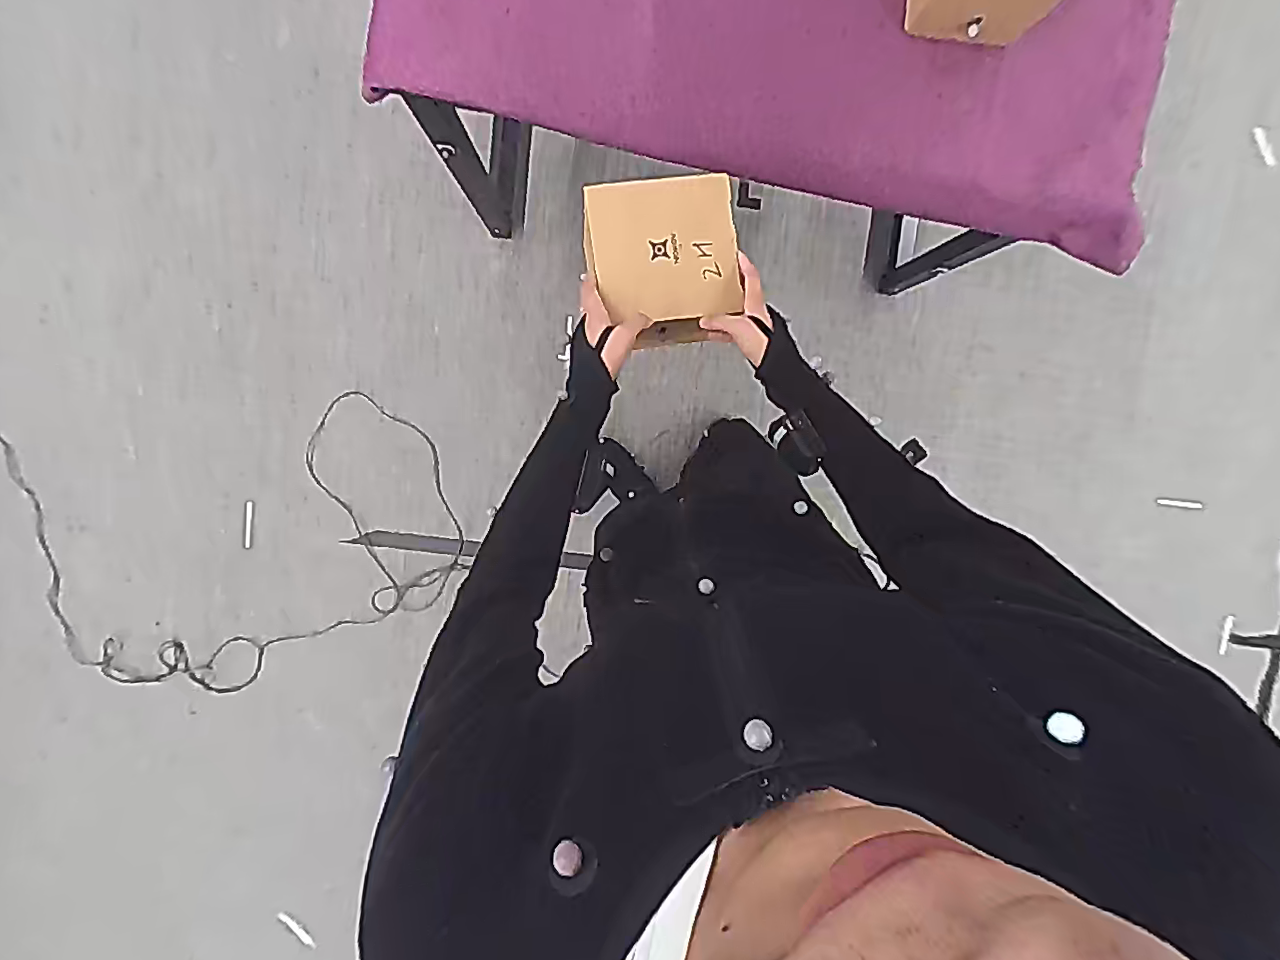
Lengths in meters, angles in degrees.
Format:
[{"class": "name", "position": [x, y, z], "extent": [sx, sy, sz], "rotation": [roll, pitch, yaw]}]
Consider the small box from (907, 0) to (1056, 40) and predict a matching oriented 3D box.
[{"class": "small box", "position": [0.504, -0.752, 0.743], "extent": [0.179, 0.176, 0.168], "rotation": [4, 96, -4]}]

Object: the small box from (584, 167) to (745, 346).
[{"class": "small box", "position": [0.023, -0.278, 0.705], "extent": [0.179, 0.176, 0.168], "rotation": [-7, 94, -6]}]
